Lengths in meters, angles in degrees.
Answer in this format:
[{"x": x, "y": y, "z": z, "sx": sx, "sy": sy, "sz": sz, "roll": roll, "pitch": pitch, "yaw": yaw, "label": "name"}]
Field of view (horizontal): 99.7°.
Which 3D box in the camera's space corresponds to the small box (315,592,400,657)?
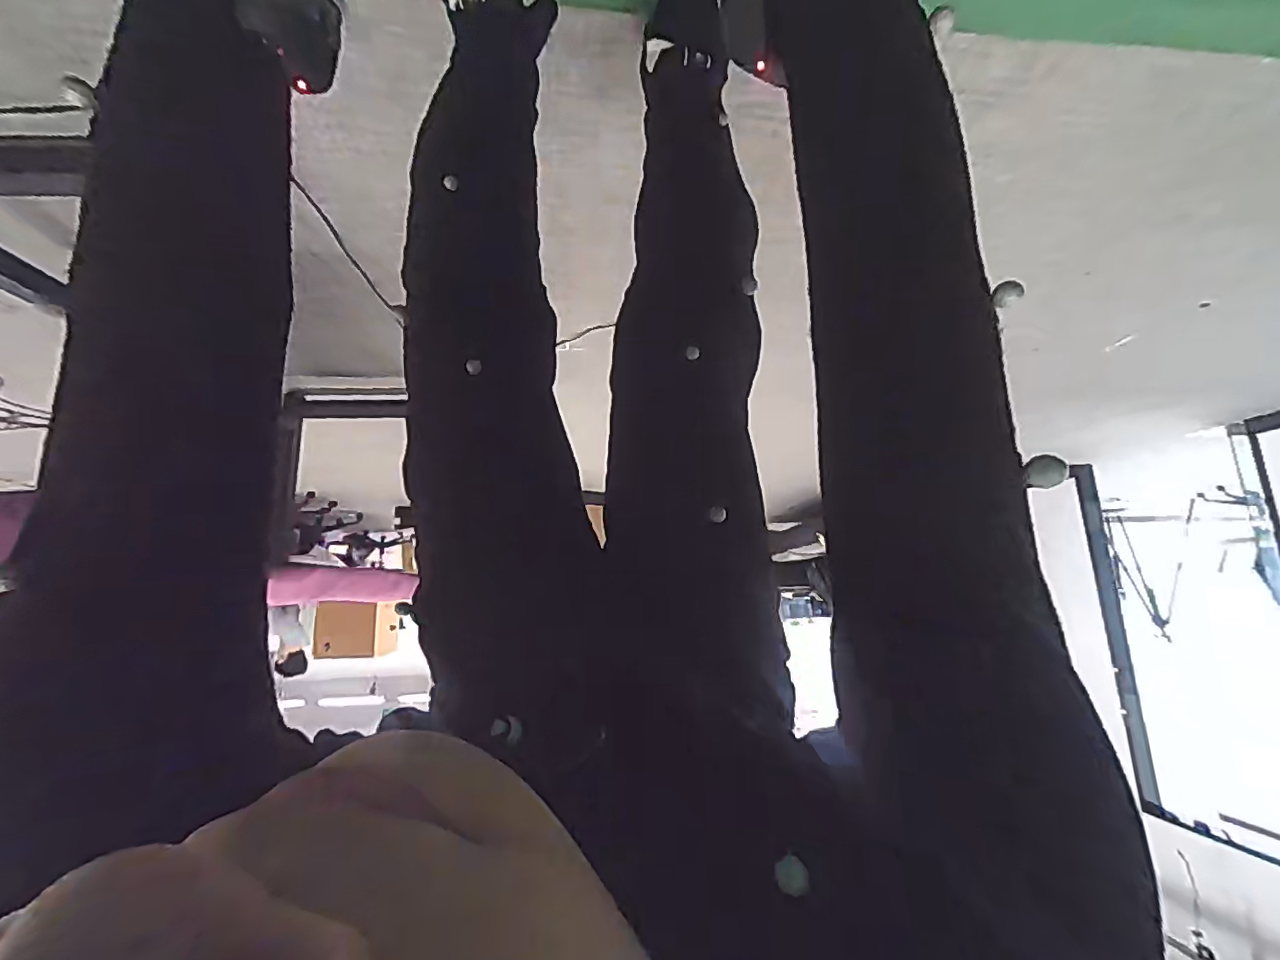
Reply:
[{"x": -0.822, "y": 0.420, "z": 1.588, "sx": 0.179, "sy": 0.176, "sz": 0.168, "roll": 0, "pitch": 168, "yaw": -3, "label": "small box"}]
